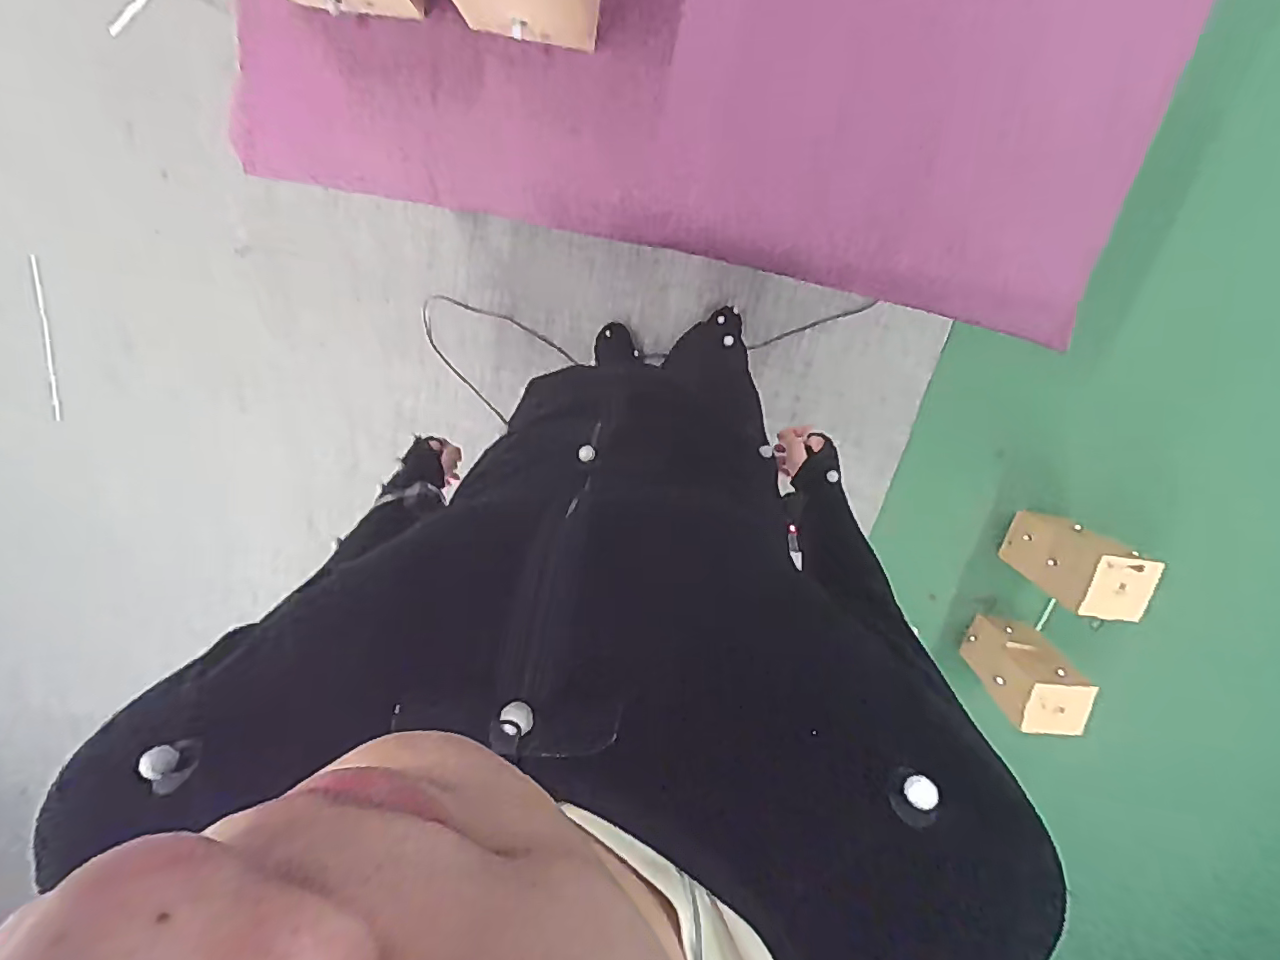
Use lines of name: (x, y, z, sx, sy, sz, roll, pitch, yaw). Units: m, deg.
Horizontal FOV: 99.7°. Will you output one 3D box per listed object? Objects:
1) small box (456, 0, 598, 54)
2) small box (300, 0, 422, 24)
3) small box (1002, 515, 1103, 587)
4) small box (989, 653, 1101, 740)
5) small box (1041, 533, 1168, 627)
small box: (-0.131, -0.625, 0.603, 0.168, 0.176, 0.179, 10, 110, -1)
small box: (-0.356, -0.658, 0.600, 0.168, 0.176, 0.179, 6, 109, 0)
small box: (1.227, 0.216, 1.601, 0.179, 0.176, 0.168, 10, 108, -2)
small box: (1.161, 0.620, 1.563, 0.179, 0.176, 0.168, 3, 108, 1)
small box: (1.224, 0.263, 1.444, 0.168, 0.176, 0.179, 8, 109, -1)
